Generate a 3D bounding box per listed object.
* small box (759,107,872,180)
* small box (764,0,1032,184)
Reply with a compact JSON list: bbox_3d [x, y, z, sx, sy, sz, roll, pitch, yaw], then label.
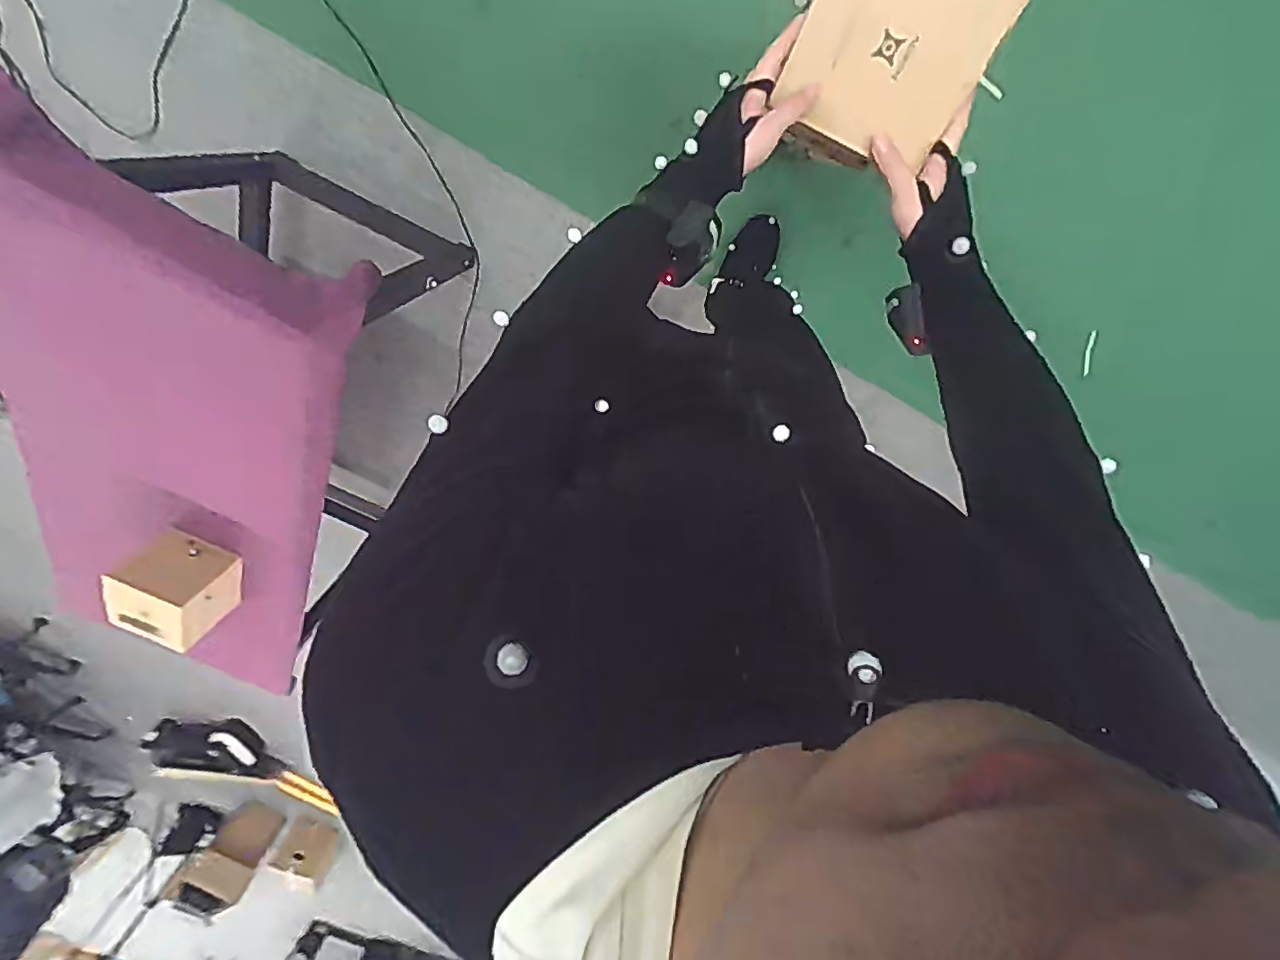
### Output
[{"bbox_3d":[0.278,-0.537,0.729,0.168,0.176,0.179,26,124,-5],"label":"small box"},{"bbox_3d":[0.247,-0.443,0.569,0.179,0.176,0.168,24,124,-5],"label":"small box"}]
